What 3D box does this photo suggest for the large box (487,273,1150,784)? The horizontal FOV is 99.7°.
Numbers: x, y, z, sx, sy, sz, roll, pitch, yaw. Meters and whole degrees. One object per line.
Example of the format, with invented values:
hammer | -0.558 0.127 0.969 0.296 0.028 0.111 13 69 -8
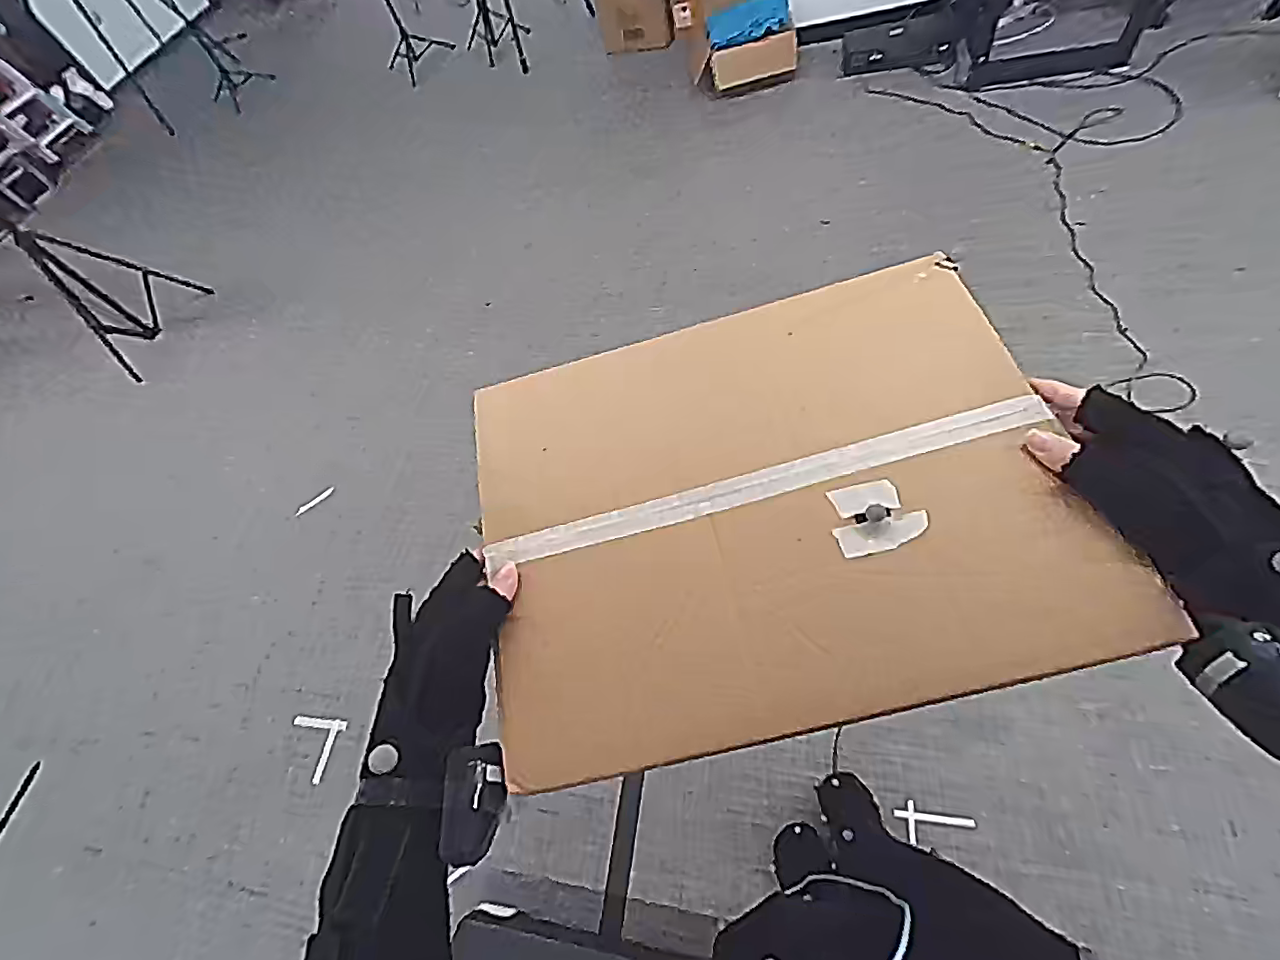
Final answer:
large box | 0.111 0.073 0.533 0.408 0.320 0.320 -16 63 4
